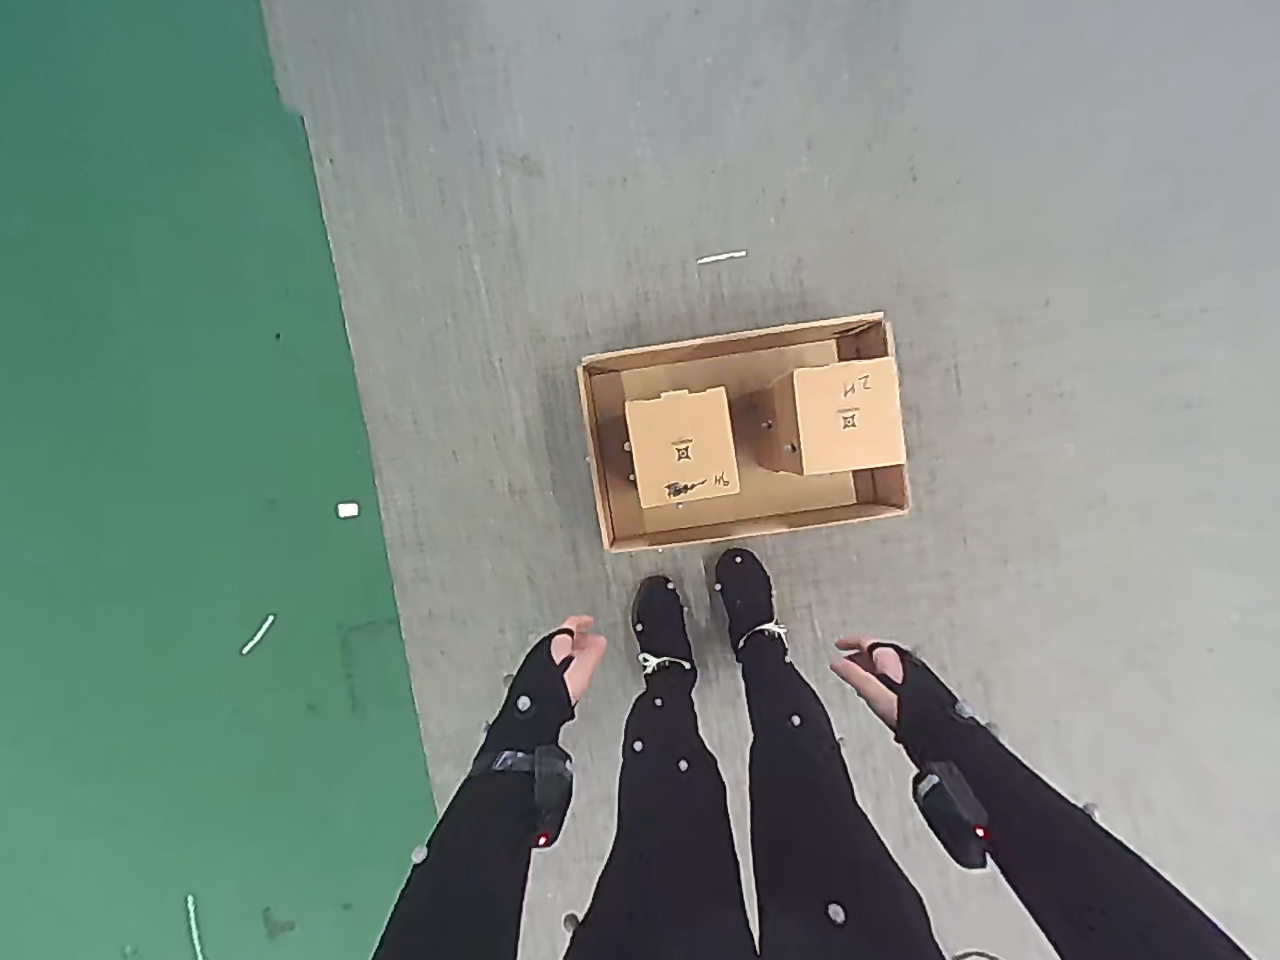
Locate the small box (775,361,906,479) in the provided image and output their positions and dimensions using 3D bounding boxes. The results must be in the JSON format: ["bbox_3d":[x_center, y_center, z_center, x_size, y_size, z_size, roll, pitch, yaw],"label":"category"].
[{"bbox_3d":[0.340,-0.101,0.944,0.168,0.176,0.179,-7,93,2],"label":"small box"}]

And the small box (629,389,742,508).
[{"bbox_3d":[0.073,-0.053,0.950,0.168,0.176,0.179,-9,93,2],"label":"small box"}]

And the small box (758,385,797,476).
[{"bbox_3d":[0.344,-0.108,1.109,0.168,0.176,0.179,-7,93,2],"label":"small box"}]
